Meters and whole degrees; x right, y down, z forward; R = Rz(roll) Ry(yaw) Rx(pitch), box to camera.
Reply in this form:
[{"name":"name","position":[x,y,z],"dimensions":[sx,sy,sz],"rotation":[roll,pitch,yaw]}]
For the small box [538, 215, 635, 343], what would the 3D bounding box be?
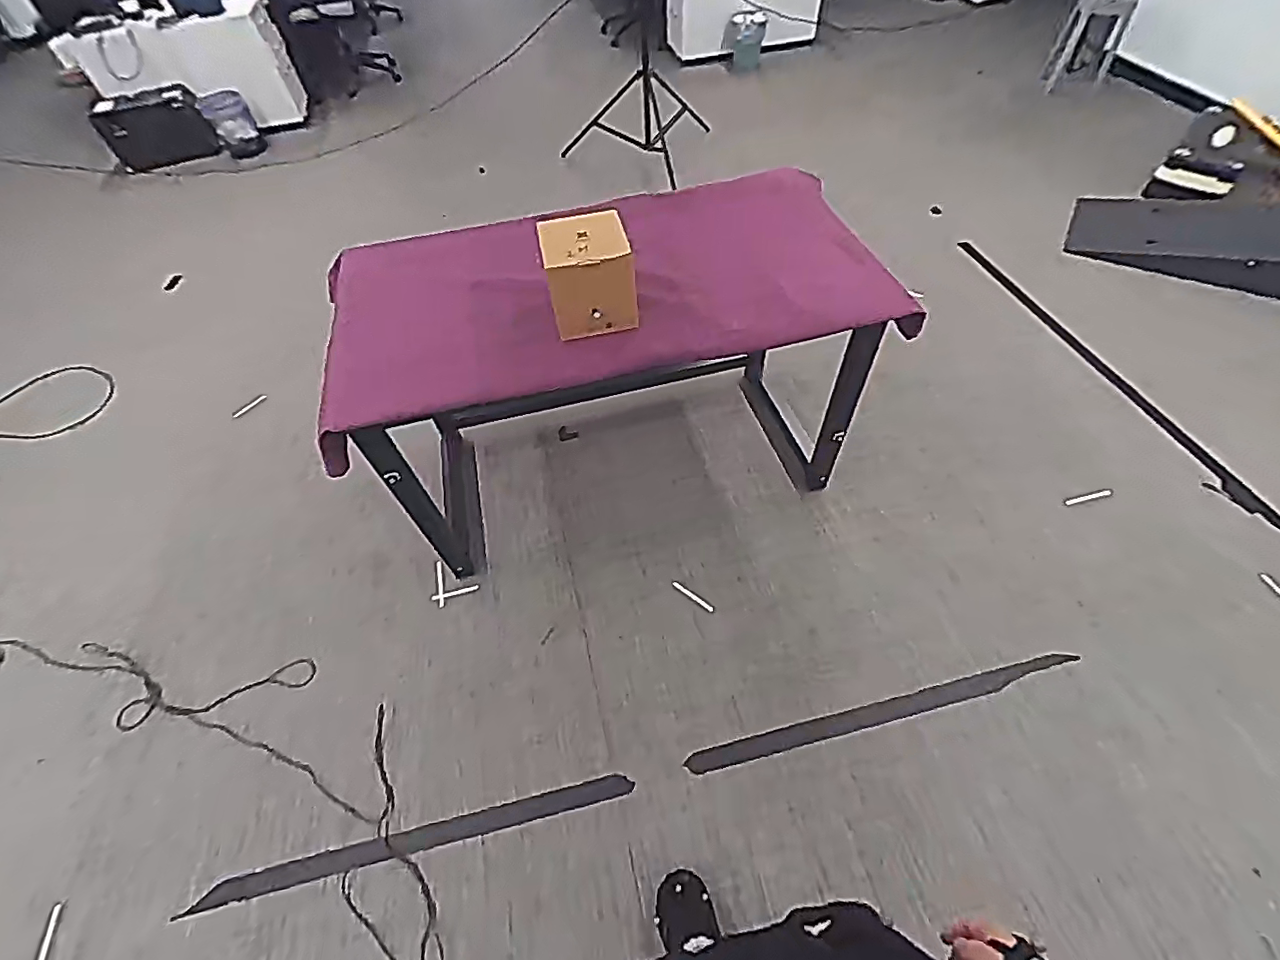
[{"name":"small box","position":[-0.108,-0.411,1.112],"dimensions":[0.168,0.176,0.179],"rotation":[-12,54,-4]}]
